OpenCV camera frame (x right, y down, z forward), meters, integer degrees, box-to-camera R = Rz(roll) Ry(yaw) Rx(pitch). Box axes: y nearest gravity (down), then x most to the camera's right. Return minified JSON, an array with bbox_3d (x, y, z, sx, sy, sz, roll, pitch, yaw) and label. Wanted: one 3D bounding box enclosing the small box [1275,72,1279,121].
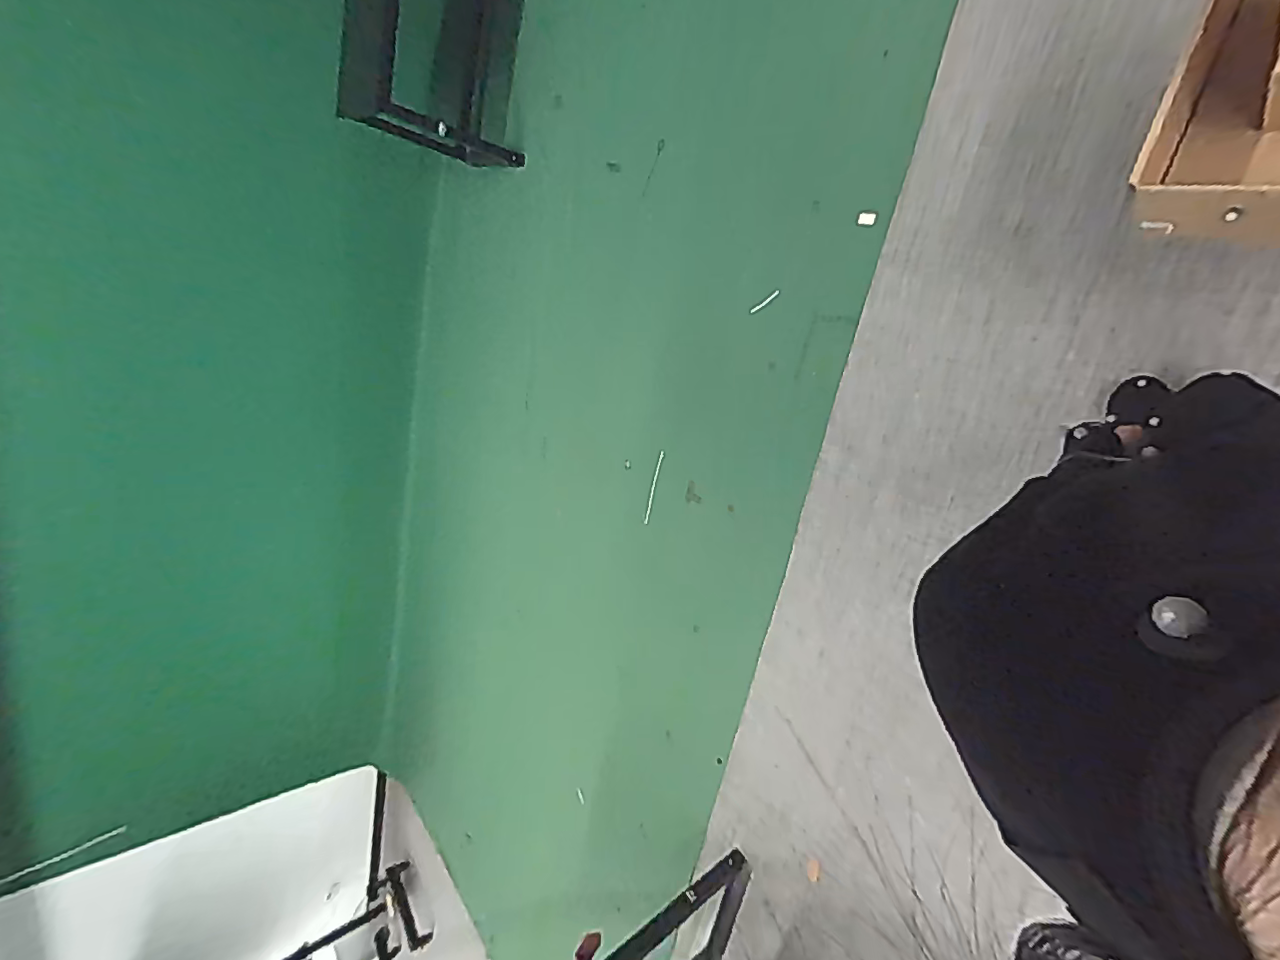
[{"bbox_3d":[0.856,-0.514,0.584,0.179,0.176,0.168,30,113,43],"label":"small box"}]
